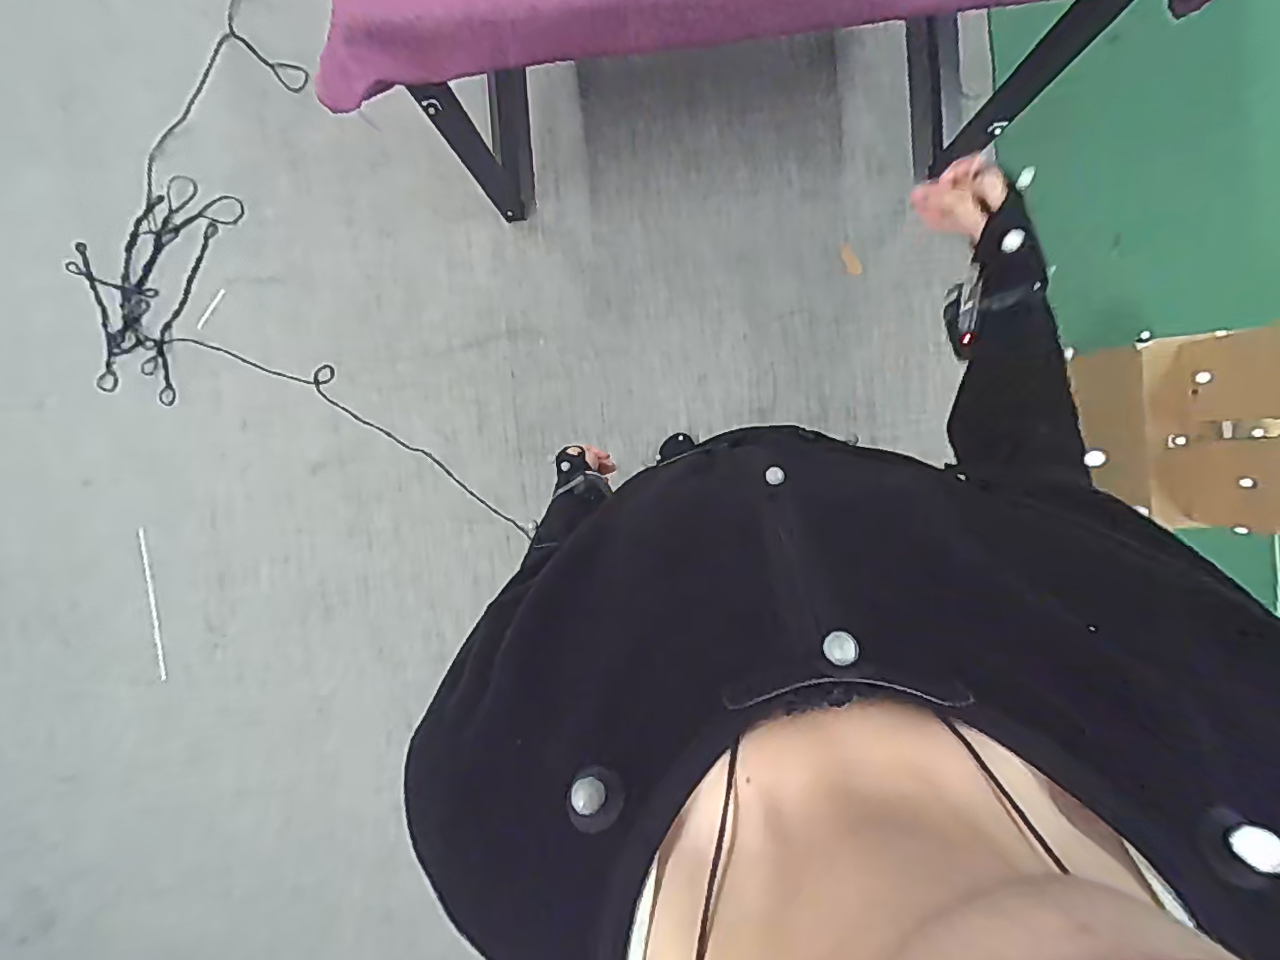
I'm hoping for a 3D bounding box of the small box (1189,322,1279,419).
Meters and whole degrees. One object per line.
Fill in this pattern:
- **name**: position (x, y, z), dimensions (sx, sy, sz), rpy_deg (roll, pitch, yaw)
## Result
- **small box**: position (1.203, -0.211, 1.014), dimensions (0.179, 0.176, 0.168), rpy_deg (-9, 92, 5)
